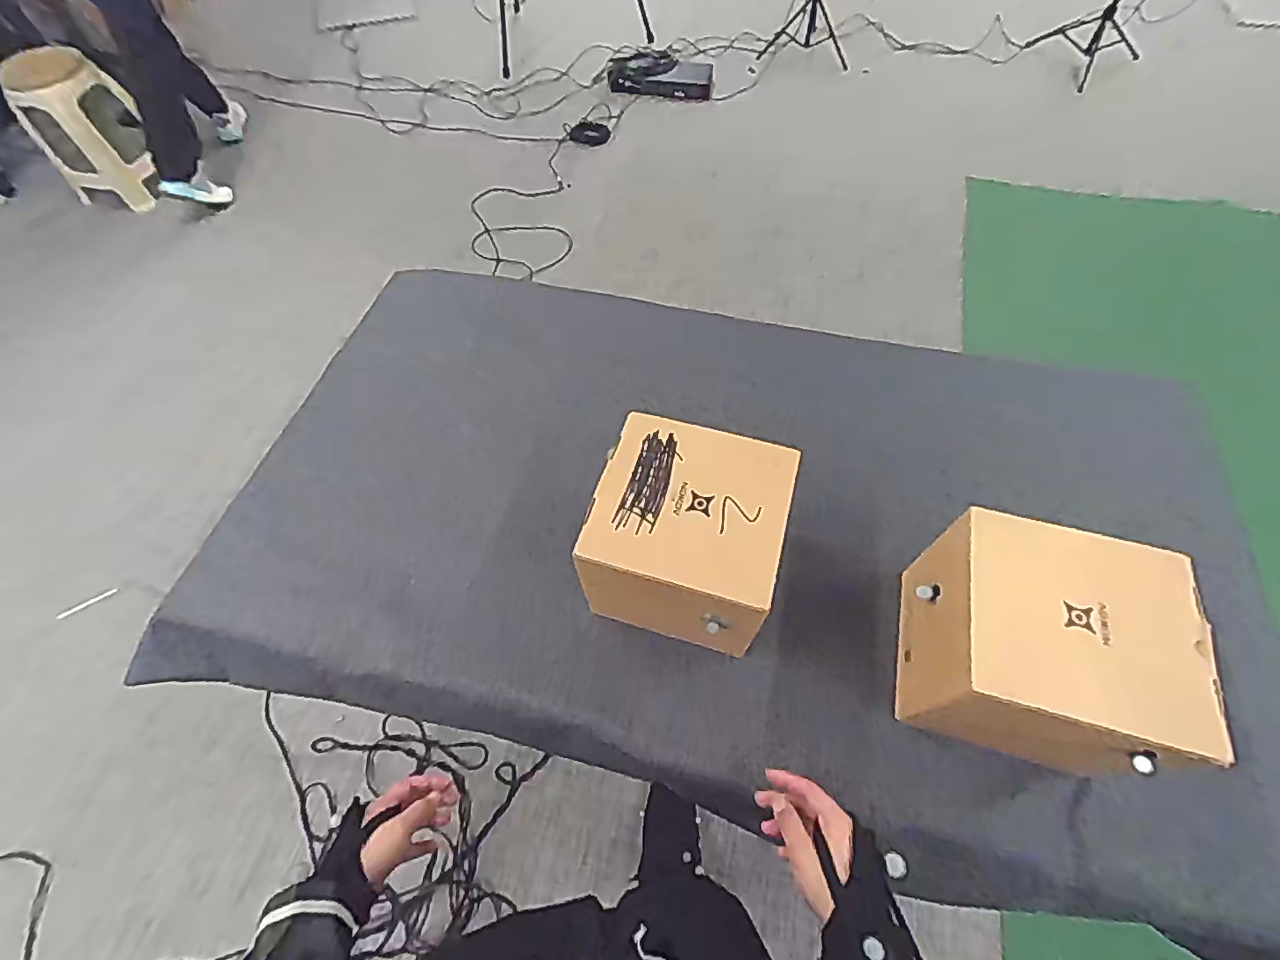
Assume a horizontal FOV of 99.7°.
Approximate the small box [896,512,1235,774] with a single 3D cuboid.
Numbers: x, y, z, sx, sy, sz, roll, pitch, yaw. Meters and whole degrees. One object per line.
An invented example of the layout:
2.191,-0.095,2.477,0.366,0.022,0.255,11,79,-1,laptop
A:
0.353,0.155,0.495,0.179,0.176,0.168,13,60,10,small box
